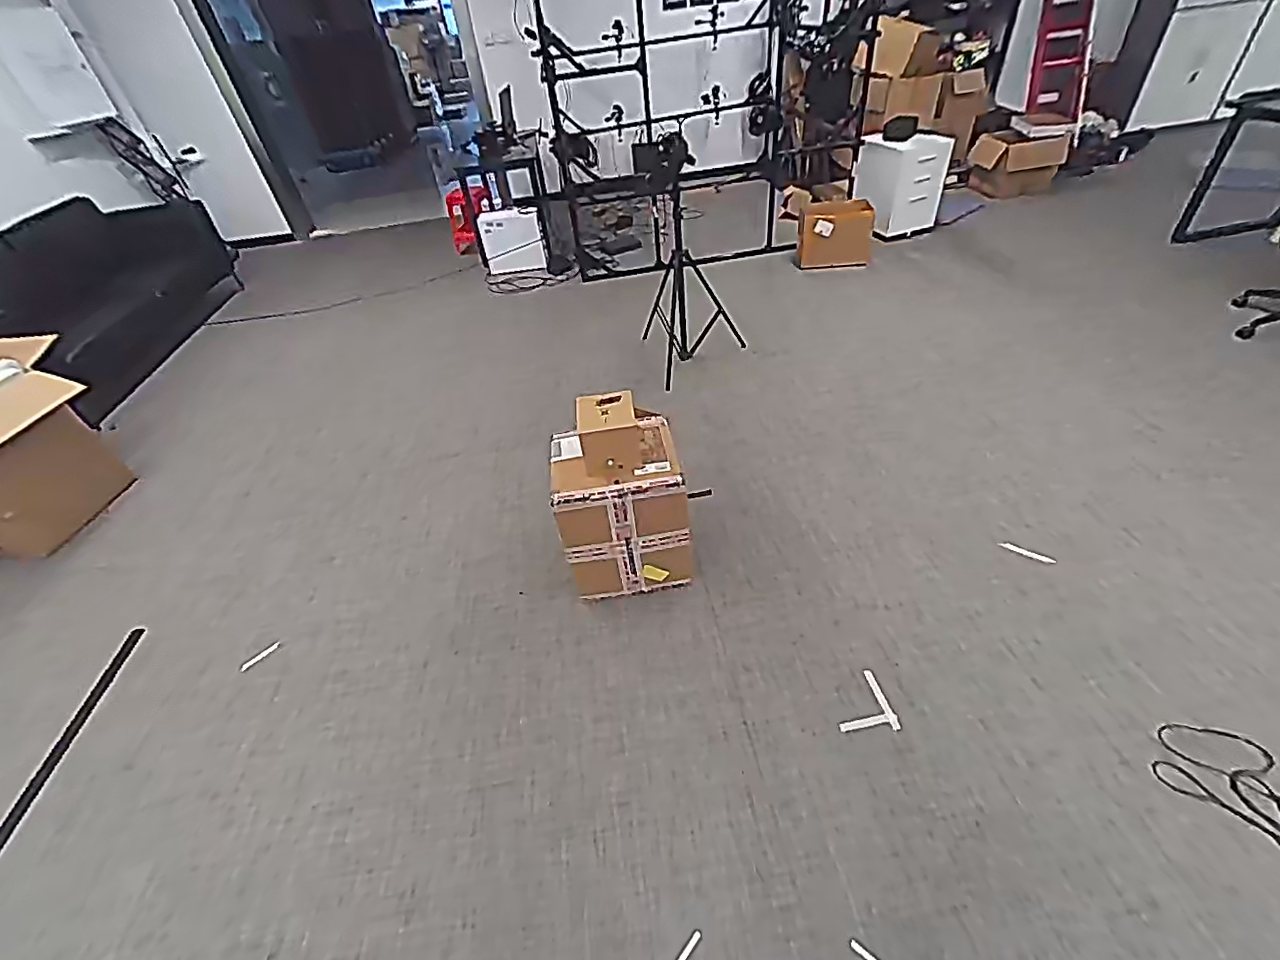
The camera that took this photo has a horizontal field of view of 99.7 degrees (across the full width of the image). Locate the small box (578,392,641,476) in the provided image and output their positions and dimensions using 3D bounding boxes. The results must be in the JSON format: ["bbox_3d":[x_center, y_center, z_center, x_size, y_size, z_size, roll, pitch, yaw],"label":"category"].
[{"bbox_3d":[-0.090,-0.137,1.612,0.168,0.176,0.179,-8,45,0],"label":"small box"}]
